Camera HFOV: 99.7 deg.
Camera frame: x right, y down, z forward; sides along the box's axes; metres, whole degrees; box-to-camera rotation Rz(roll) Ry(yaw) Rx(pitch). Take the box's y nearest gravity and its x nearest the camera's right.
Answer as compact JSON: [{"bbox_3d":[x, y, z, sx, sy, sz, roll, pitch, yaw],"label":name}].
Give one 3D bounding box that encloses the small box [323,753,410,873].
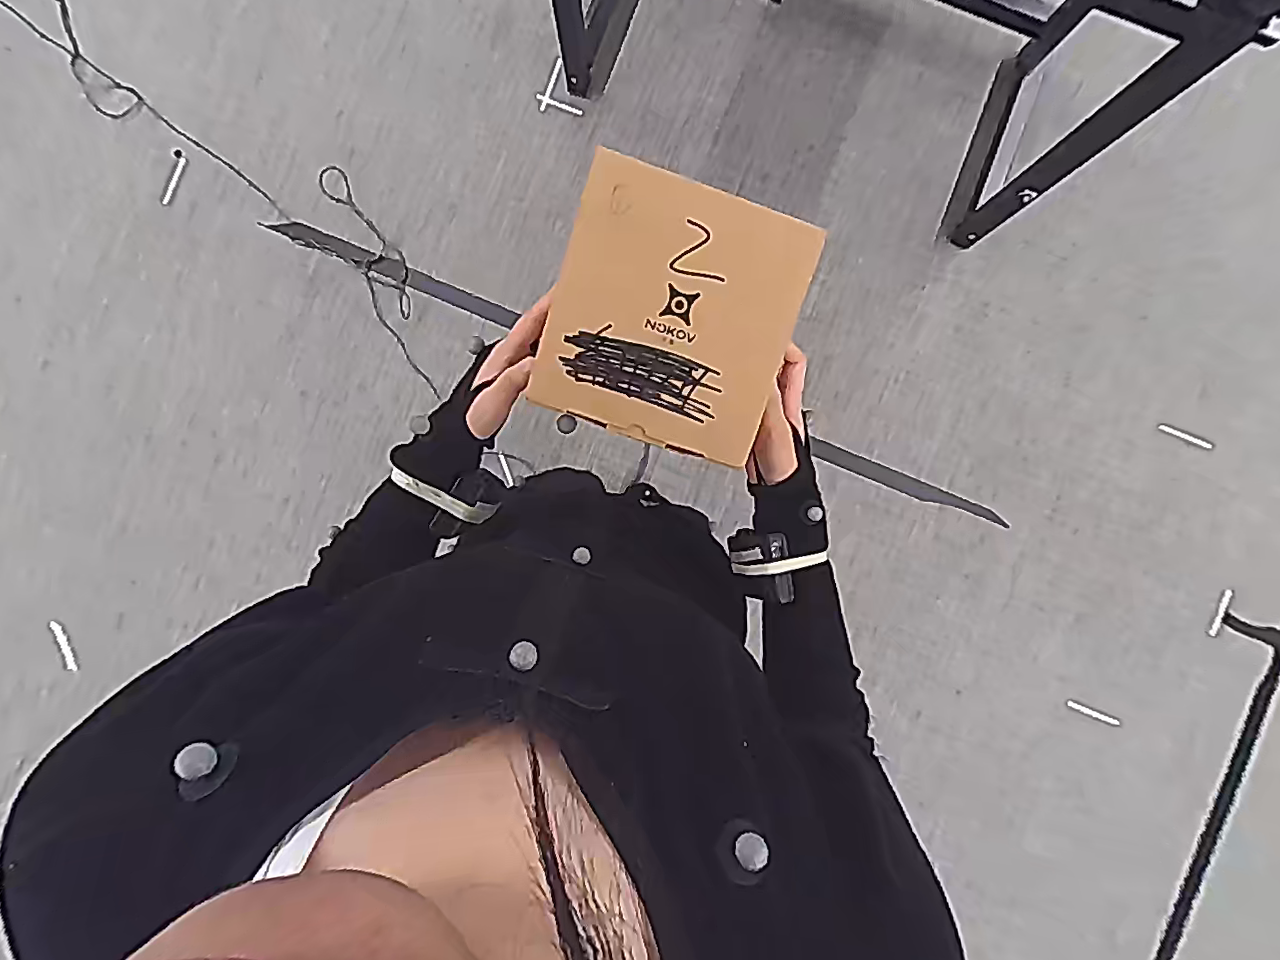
[{"bbox_3d":[-0.726,0.850,1.397,0.168,0.176,0.179,21,89,-1],"label":"small box"}]
